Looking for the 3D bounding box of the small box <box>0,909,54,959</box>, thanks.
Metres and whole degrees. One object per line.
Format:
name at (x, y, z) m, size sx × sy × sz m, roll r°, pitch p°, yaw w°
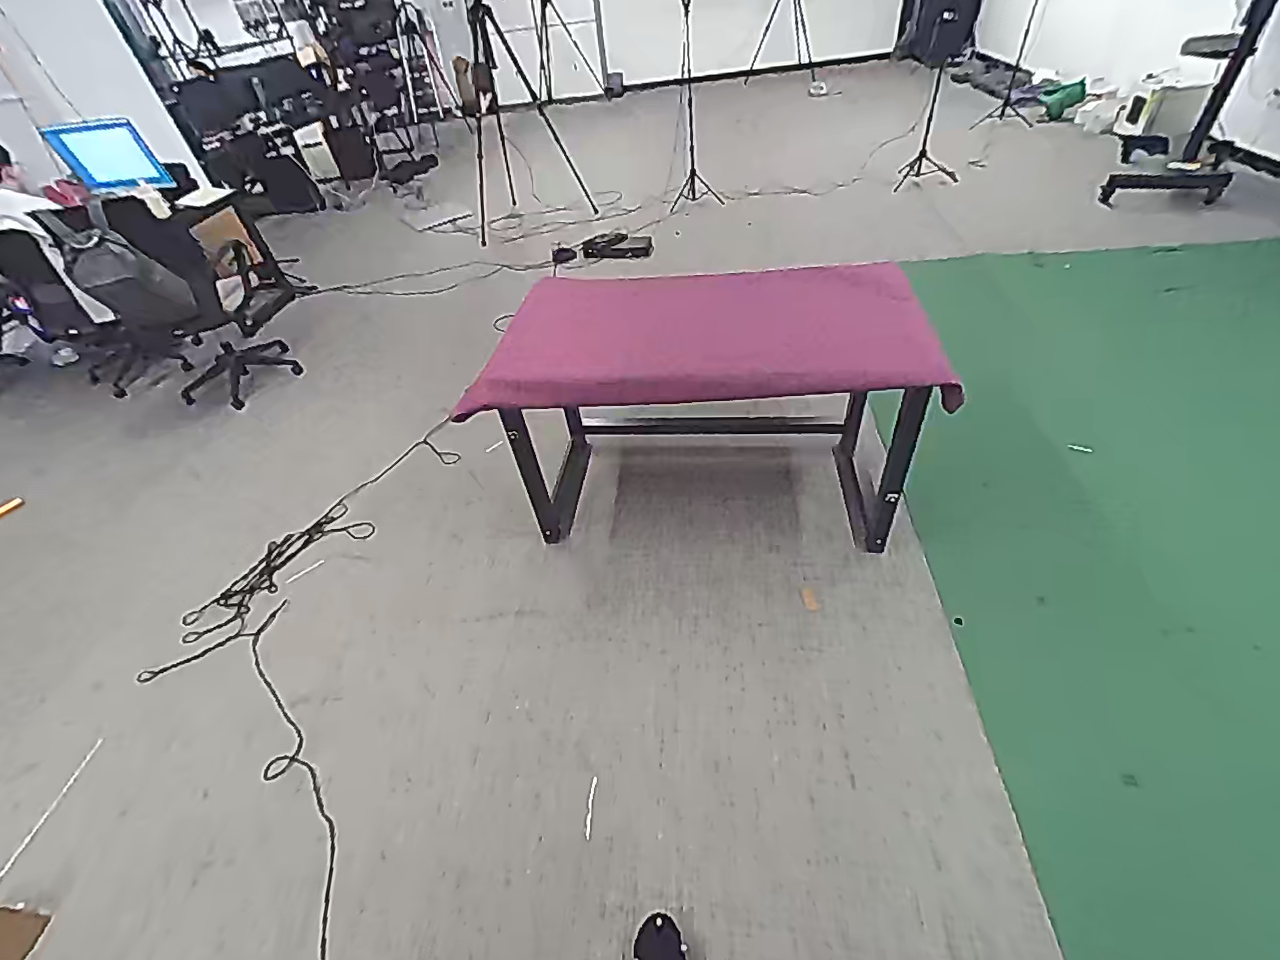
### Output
small box at (-1.511, 1.078, 1.214) m, size 0.168 × 0.176 × 0.179 m, roll -2°, pitch 43°, yaw 8°
